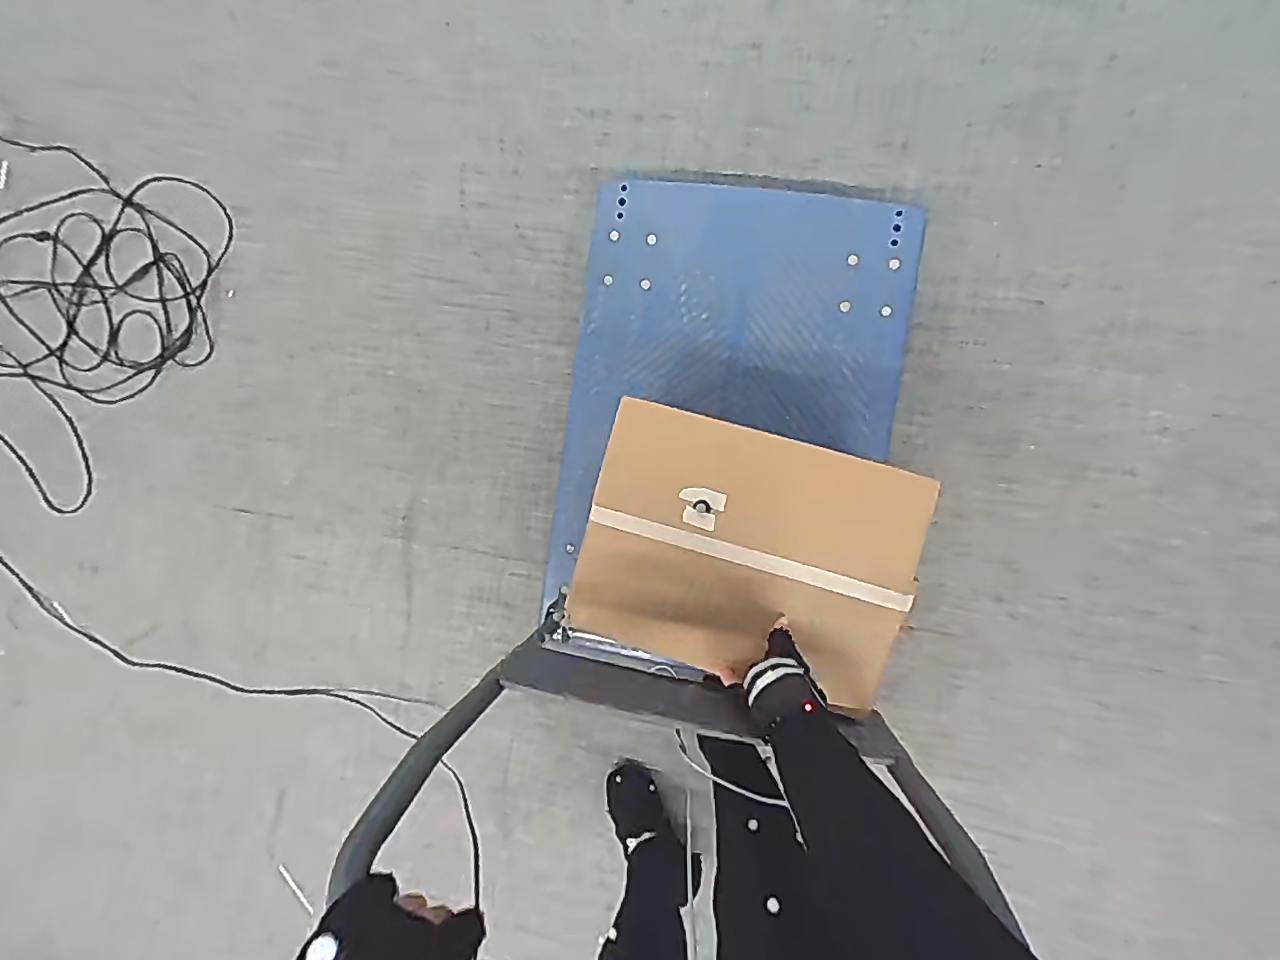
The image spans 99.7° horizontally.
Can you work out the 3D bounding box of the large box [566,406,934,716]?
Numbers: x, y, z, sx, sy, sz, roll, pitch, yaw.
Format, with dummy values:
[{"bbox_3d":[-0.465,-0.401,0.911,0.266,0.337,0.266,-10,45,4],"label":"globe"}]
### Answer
[{"bbox_3d":[0.149,0.092,0.827,0.408,0.320,0.320,15,94,7],"label":"large box"}]
